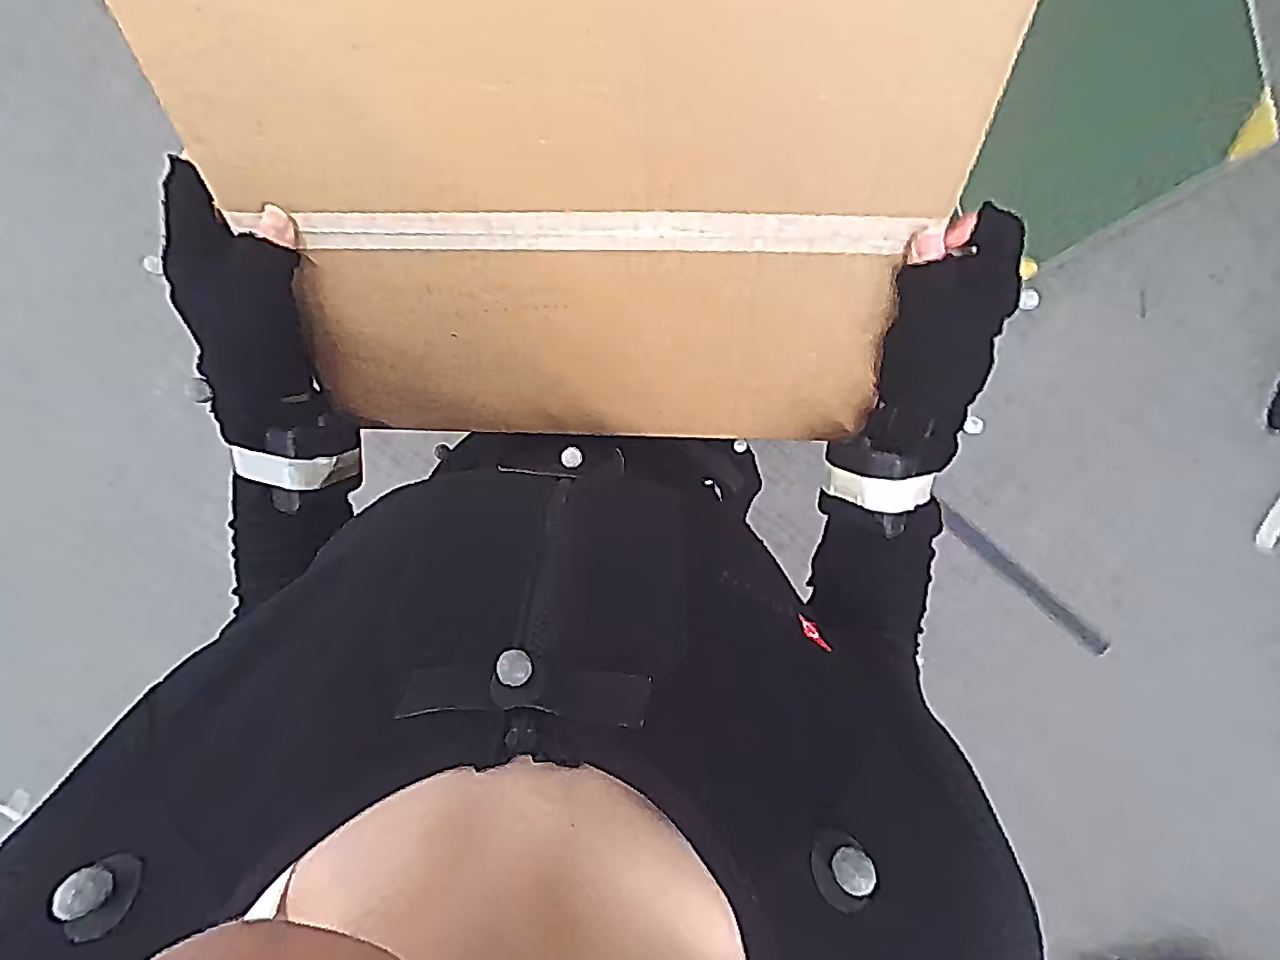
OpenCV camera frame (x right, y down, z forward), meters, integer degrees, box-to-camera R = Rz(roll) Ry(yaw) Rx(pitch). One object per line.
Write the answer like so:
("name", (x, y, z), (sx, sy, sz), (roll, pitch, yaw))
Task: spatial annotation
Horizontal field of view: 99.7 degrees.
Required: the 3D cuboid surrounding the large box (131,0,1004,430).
("large box", (-0.031, -0.253, 0.421), (0.408, 0.320, 0.320), (1, 138, 2))
